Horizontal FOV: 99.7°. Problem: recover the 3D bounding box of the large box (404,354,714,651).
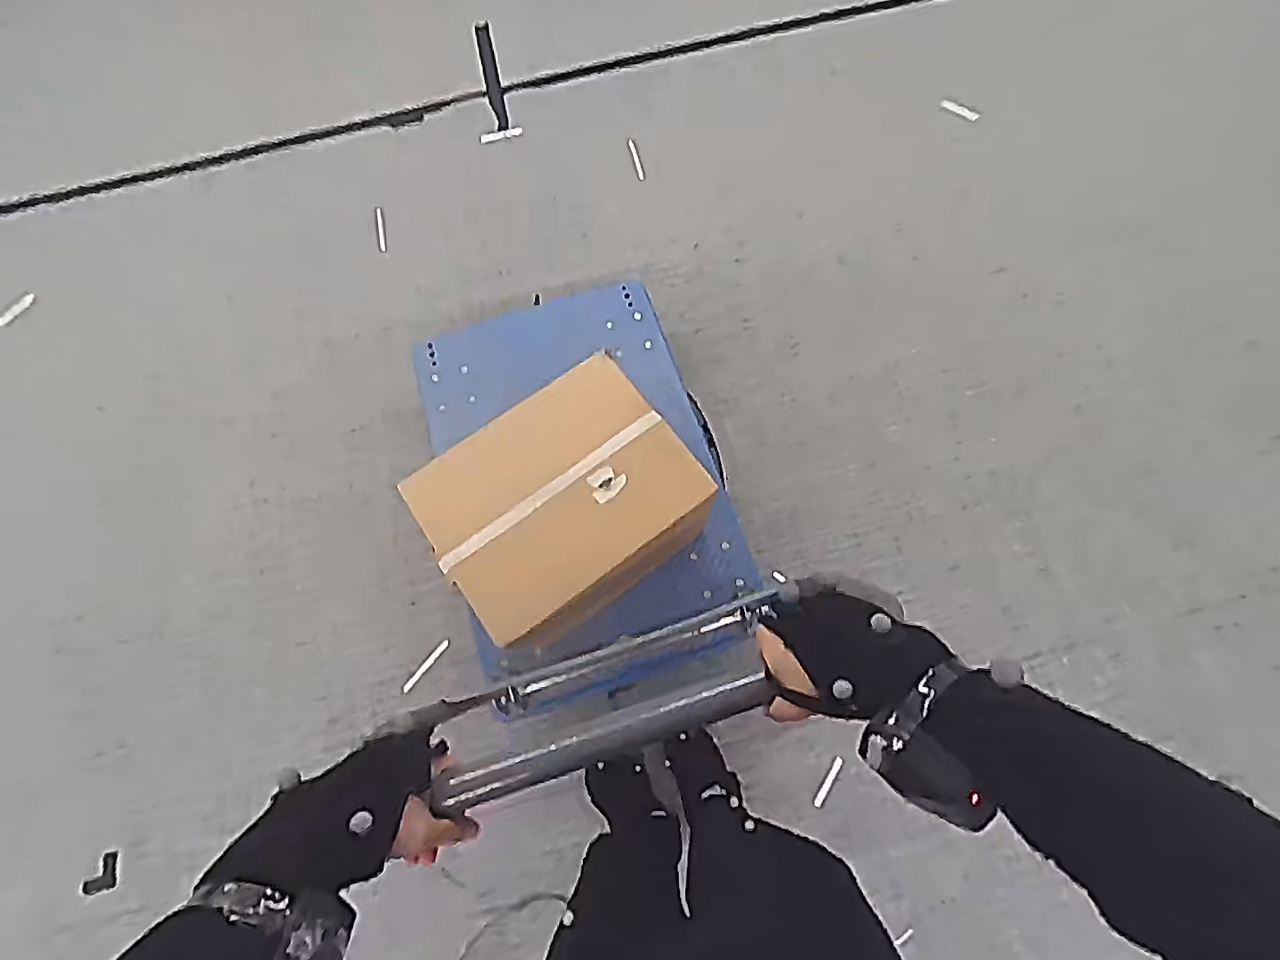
[{"bbox_3d":[-0.127,0.060,0.987,0.408,0.320,0.320,-36,75,-10],"label":"large box"}]
